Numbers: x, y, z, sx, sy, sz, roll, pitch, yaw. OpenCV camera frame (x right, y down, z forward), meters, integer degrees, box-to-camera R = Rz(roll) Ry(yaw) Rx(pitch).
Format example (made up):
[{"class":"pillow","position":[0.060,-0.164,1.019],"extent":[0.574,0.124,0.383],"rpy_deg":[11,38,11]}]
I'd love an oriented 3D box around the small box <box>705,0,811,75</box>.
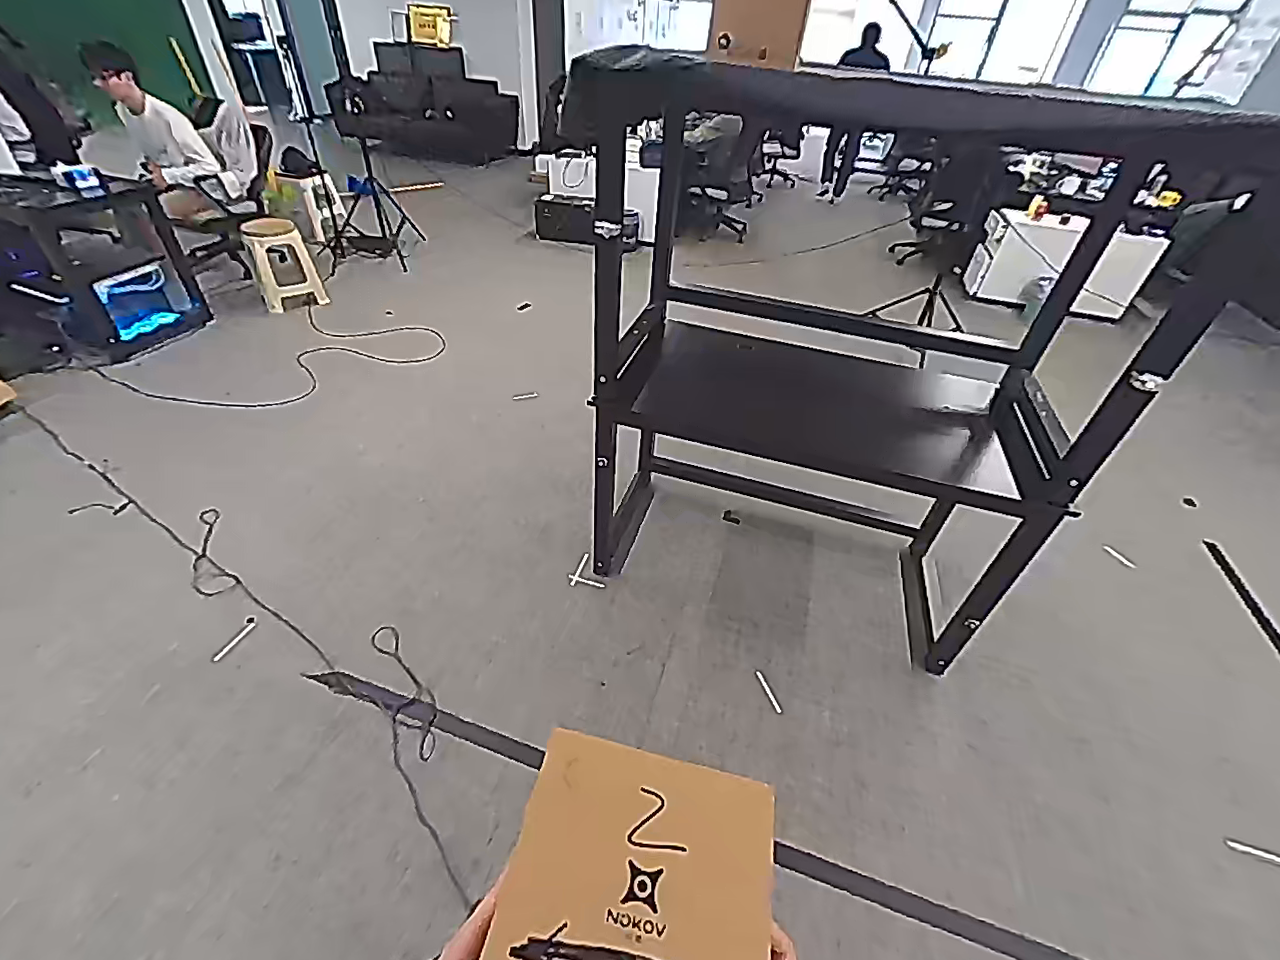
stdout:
[{"class":"small box","position":[0.218,-0.845,0.979],"extent":[0.168,0.176,0.179],"rpy_deg":[13,39,8]}]
